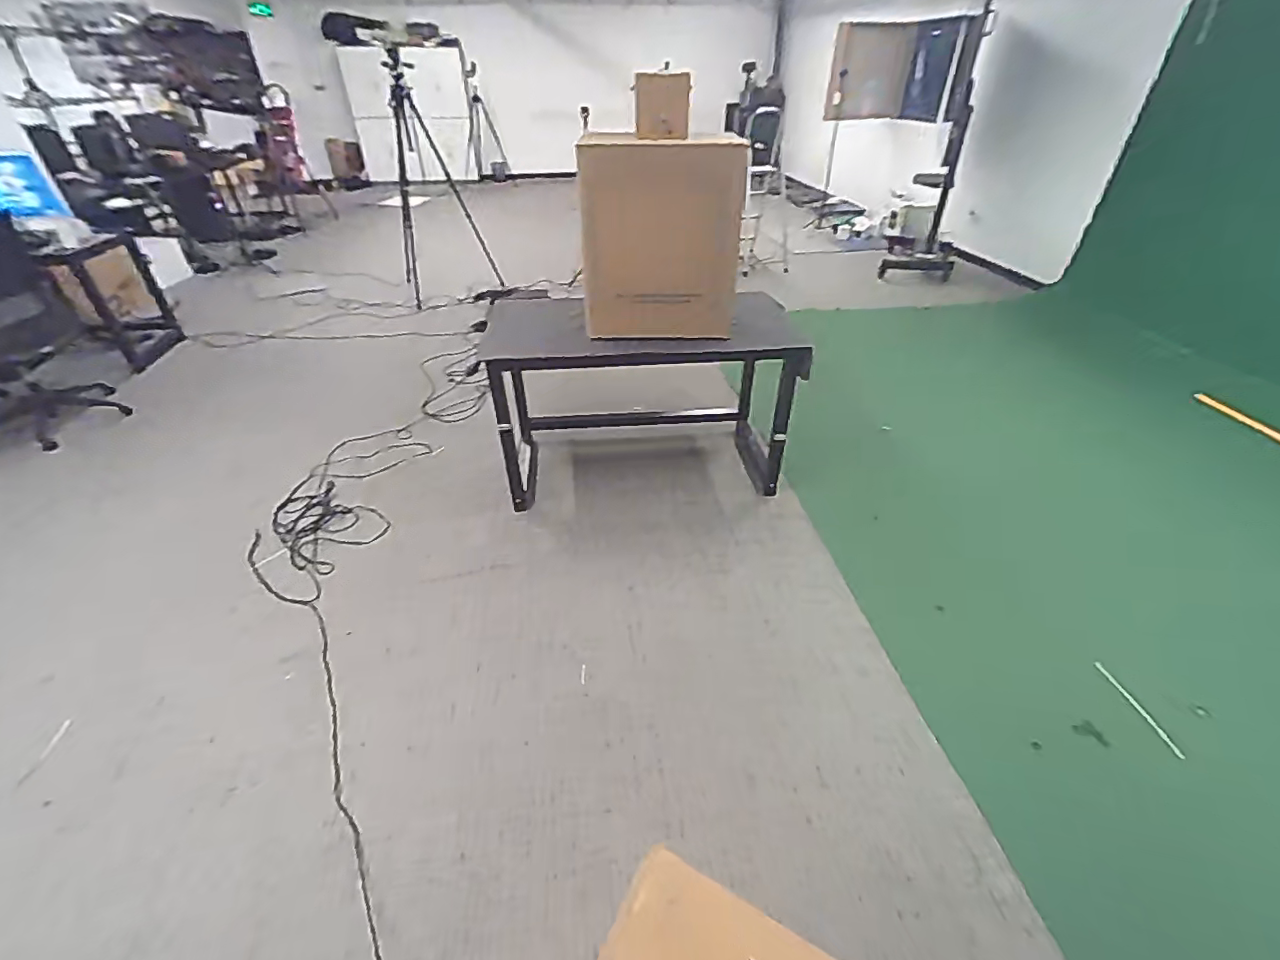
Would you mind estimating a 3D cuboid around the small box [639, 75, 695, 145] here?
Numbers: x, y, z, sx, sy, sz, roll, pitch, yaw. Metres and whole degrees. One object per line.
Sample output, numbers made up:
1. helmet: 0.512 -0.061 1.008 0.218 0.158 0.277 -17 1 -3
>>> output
1. small box: 0.079 -1.170 1.708 0.168 0.176 0.179 0 39 -1
